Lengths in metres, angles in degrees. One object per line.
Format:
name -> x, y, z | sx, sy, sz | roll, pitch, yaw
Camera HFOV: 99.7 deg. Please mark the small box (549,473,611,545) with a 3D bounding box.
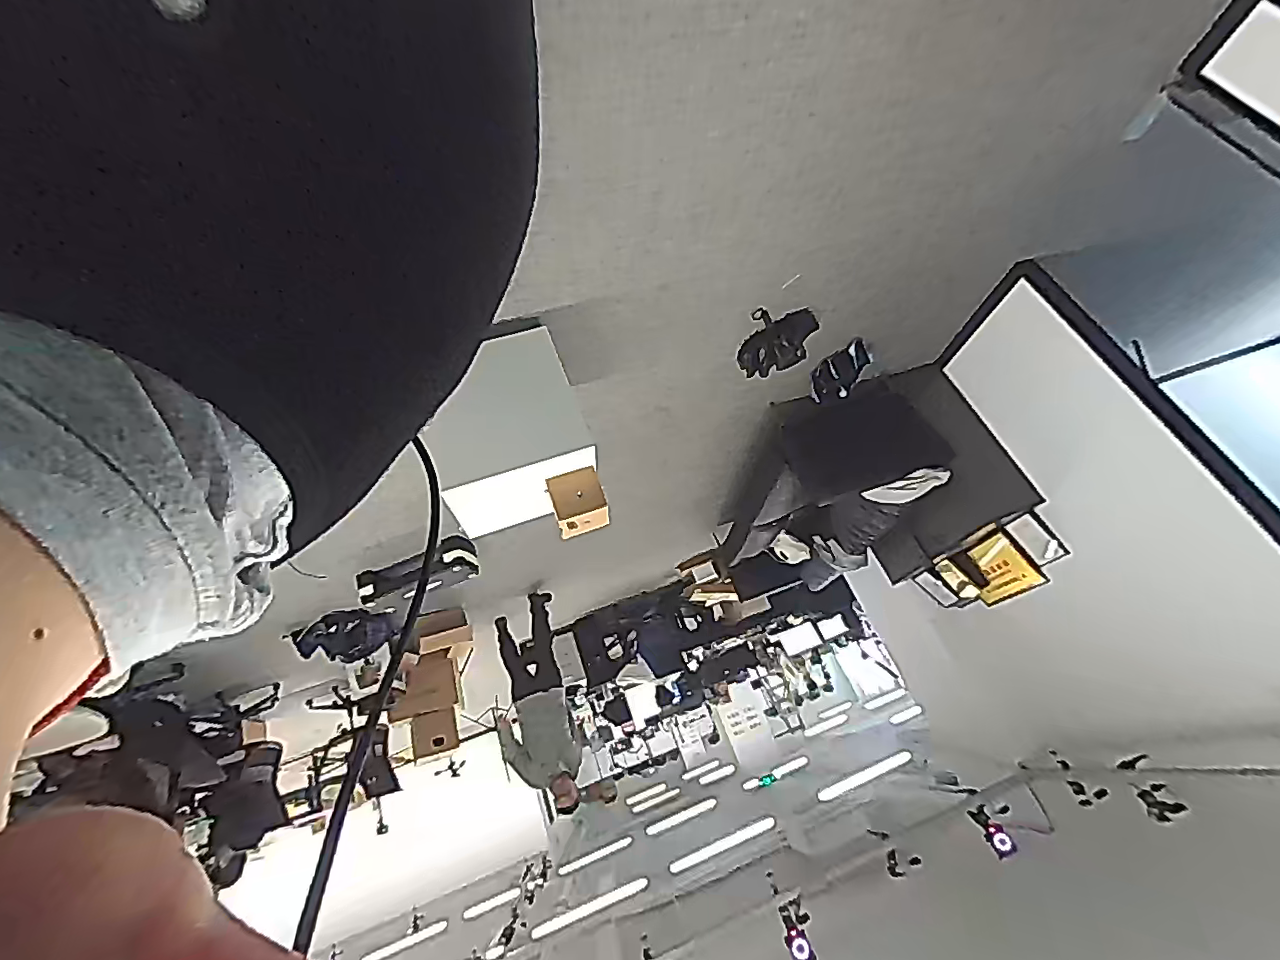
small box -> -0.213, 0.101, 1.898 | 0.179, 0.176, 0.168 | -19, 155, -11
